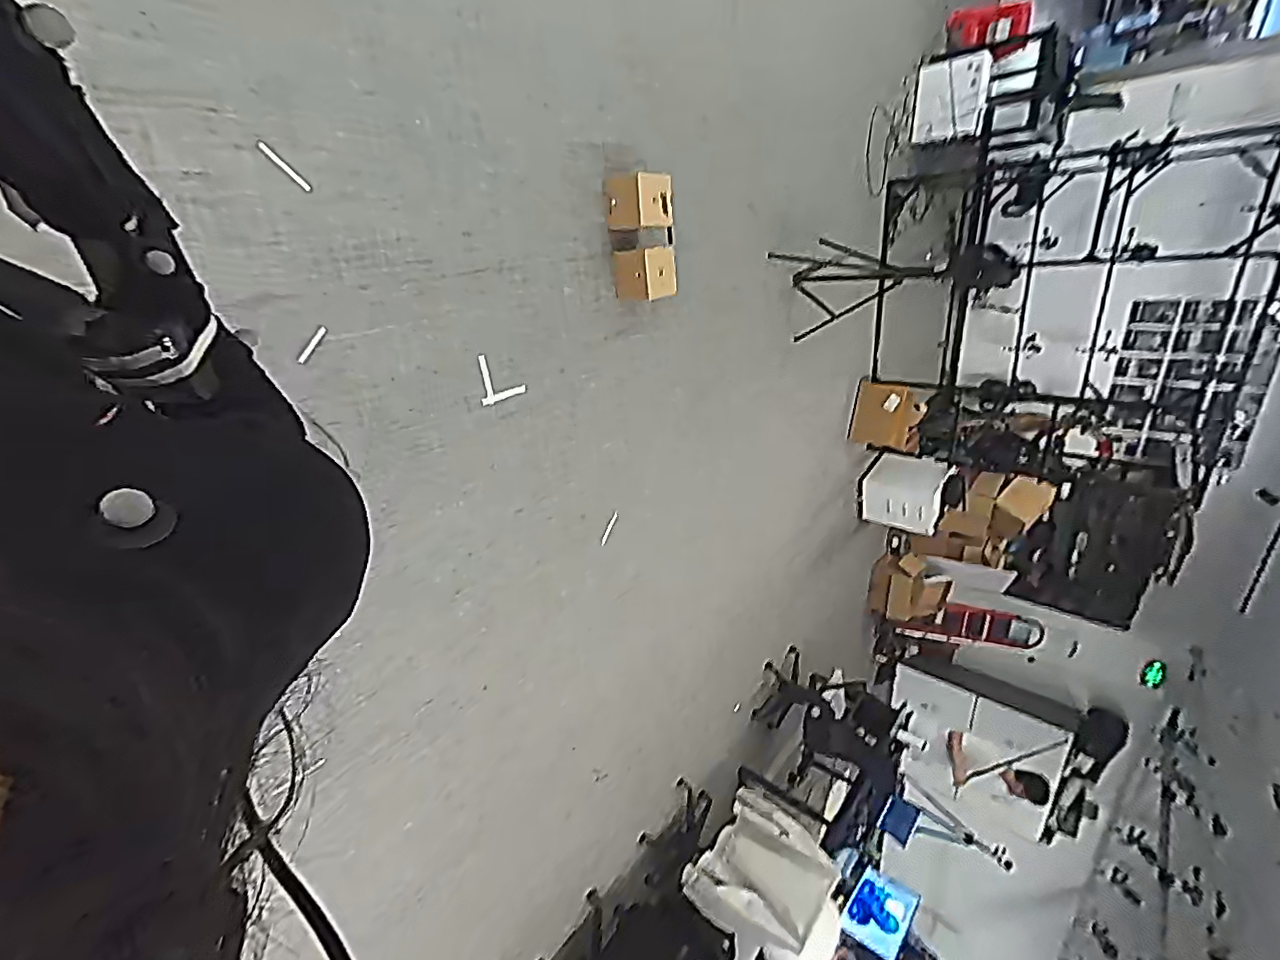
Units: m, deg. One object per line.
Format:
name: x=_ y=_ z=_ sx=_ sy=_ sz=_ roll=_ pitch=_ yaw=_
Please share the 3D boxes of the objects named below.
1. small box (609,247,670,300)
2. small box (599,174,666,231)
small box: x=-0.005 y=-0.786 z=2.062 sx=0.168 sy=0.176 sz=0.179 roll=-28 pitch=124 yaw=-40
small box: x=-0.026 y=-1.002 z=1.962 sx=0.179 sy=0.176 sz=0.168 roll=-25 pitch=120 yaw=-42
